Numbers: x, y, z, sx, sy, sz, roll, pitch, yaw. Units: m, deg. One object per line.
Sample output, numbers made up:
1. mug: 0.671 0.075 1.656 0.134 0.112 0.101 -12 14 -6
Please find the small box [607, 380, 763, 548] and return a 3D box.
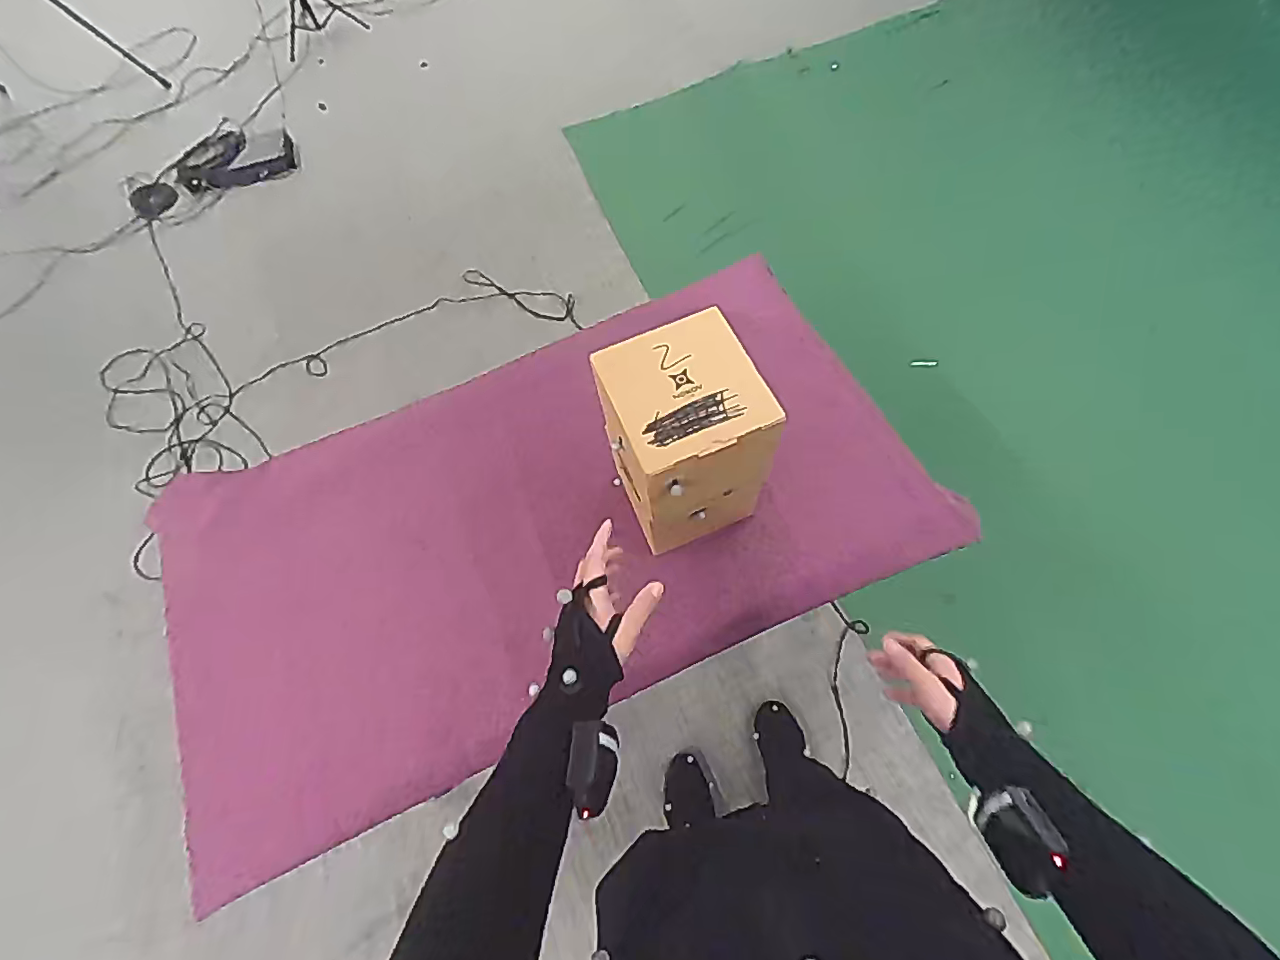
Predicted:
1. small box: 0.067 -0.016 0.829 0.179 0.176 0.168 -22 67 -6
